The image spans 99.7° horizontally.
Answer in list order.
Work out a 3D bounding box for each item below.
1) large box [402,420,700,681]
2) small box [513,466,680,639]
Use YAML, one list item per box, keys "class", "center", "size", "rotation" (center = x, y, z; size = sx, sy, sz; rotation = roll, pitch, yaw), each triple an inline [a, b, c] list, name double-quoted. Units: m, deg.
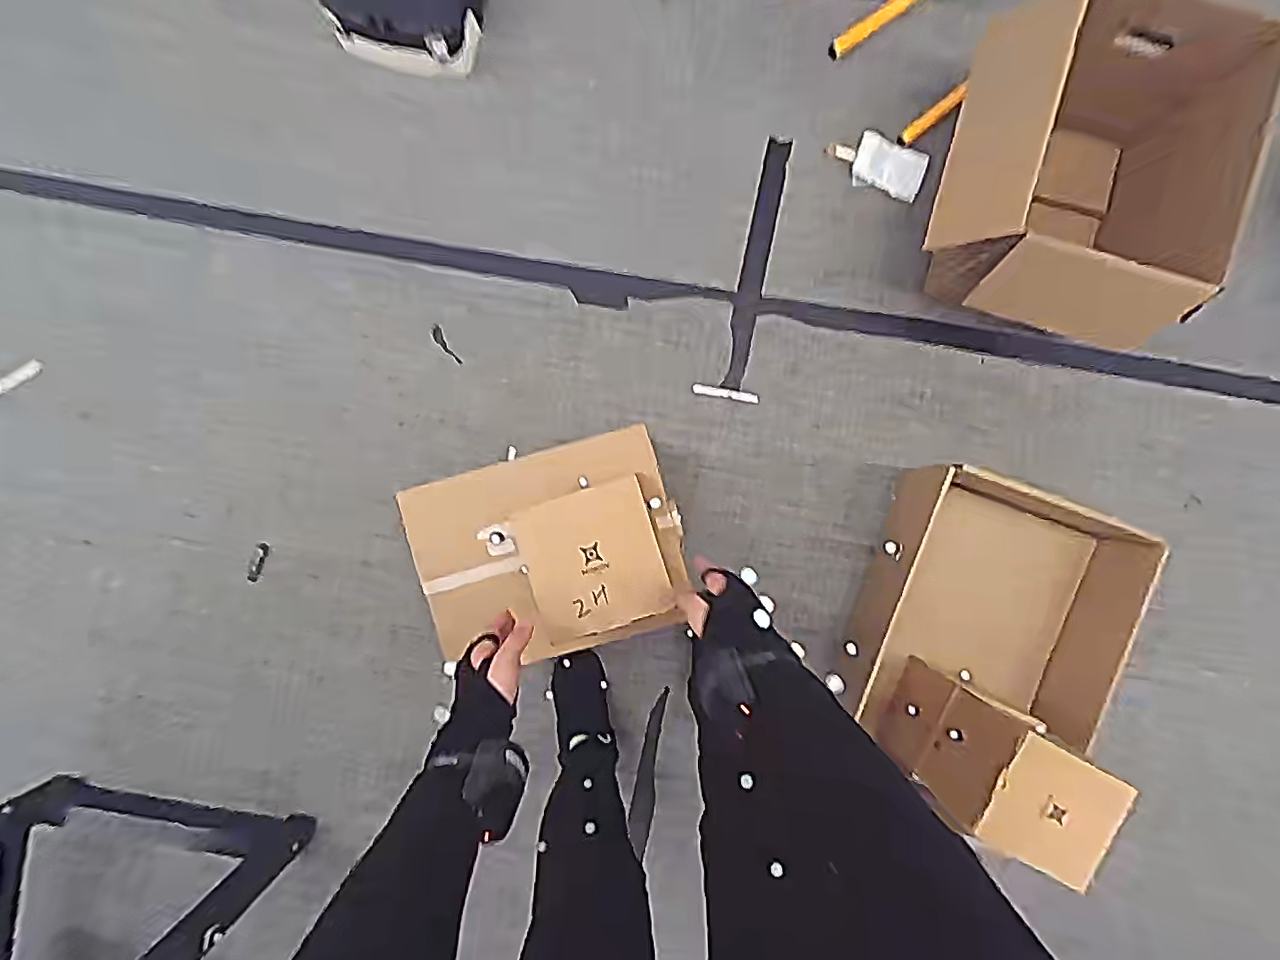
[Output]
- class: "large box"
  center: [-0.132, 0.106, 0.980]
  size: [0.408, 0.320, 0.320]
  rotation: [-17, 90, 3]
- class: "small box"
  center: [-0.051, 0.087, 0.731]
  size: [0.168, 0.176, 0.179]
  rotation: [-17, 91, 3]
